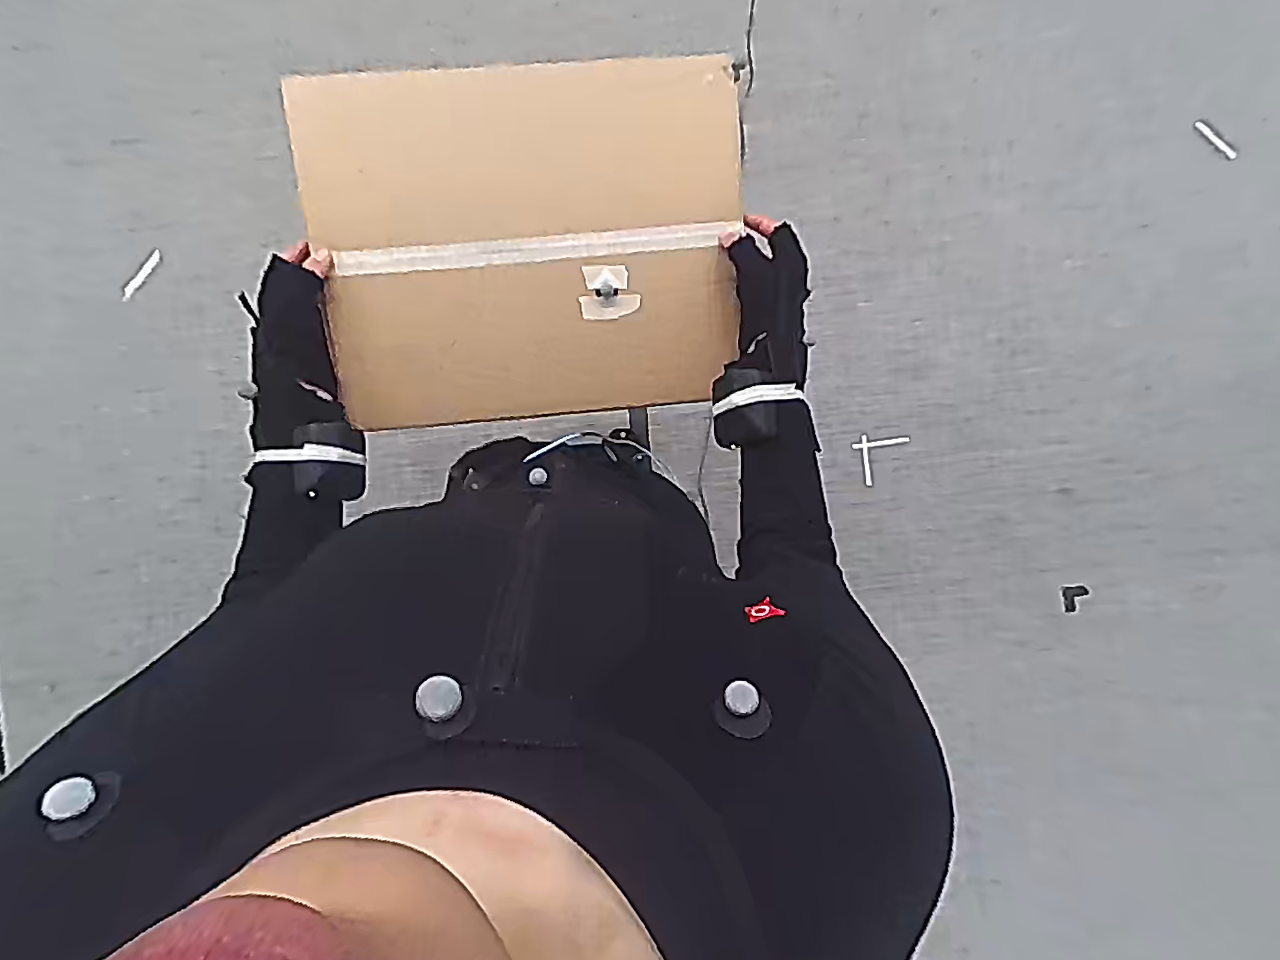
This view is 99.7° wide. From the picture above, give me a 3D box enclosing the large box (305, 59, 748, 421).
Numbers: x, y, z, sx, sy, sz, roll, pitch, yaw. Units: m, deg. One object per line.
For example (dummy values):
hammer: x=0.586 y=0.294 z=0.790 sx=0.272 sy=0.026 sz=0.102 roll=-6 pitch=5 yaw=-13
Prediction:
large box: x=-0.109 y=-0.255 z=0.673 sx=0.408 sy=0.320 sz=0.320 roll=-5 pitch=102 yaw=-4
